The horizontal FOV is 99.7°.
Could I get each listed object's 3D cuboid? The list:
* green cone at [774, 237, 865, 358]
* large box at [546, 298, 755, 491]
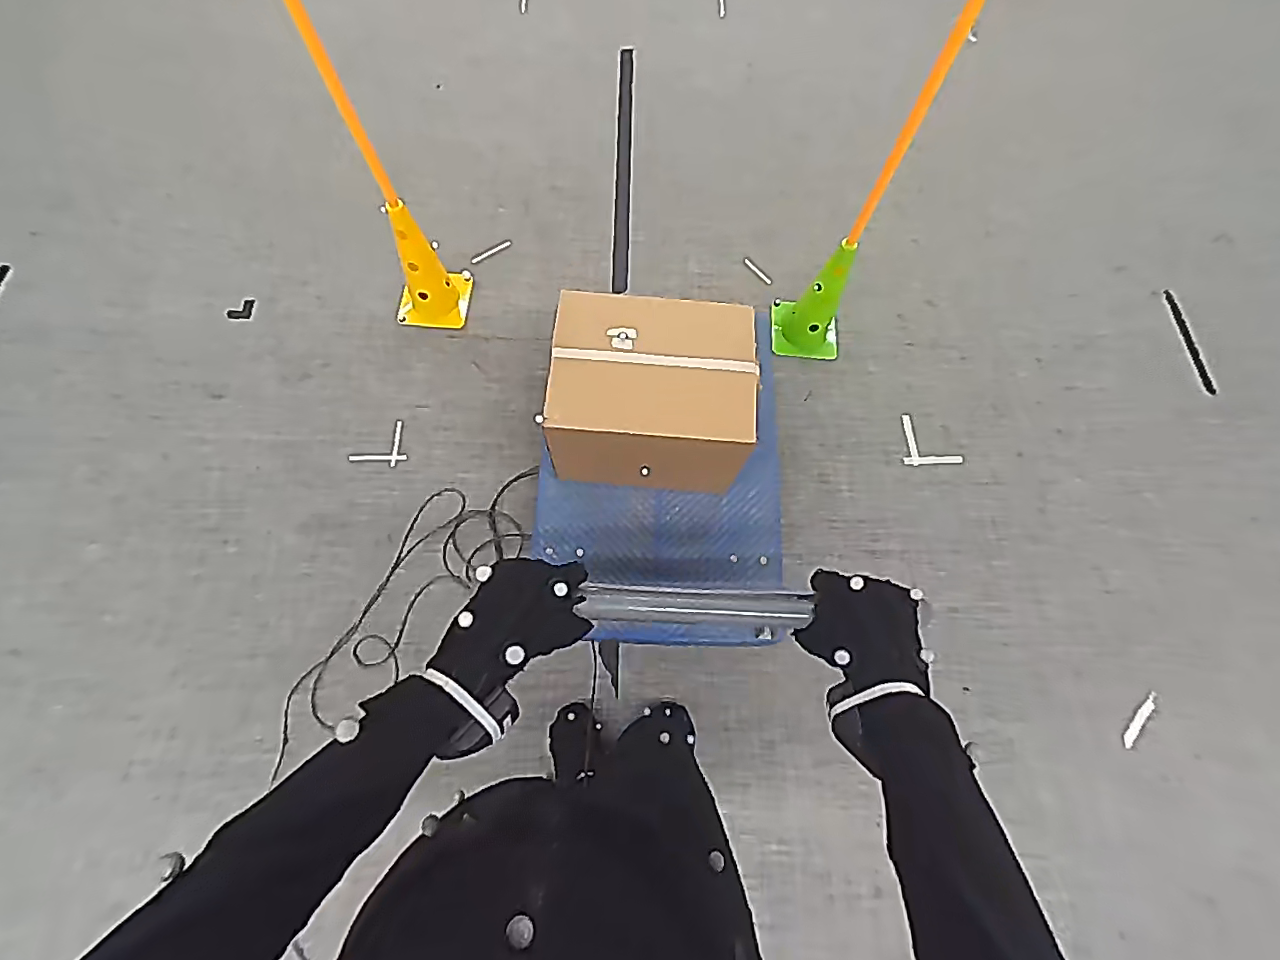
[{"bbox_3d":[0.527,-0.528,1.518,0.202,0.368,0.200,5,70,-2],"label":"green cone"},{"bbox_3d":[0.026,-0.173,1.209,0.408,0.320,0.320,5,70,0],"label":"large box"}]
